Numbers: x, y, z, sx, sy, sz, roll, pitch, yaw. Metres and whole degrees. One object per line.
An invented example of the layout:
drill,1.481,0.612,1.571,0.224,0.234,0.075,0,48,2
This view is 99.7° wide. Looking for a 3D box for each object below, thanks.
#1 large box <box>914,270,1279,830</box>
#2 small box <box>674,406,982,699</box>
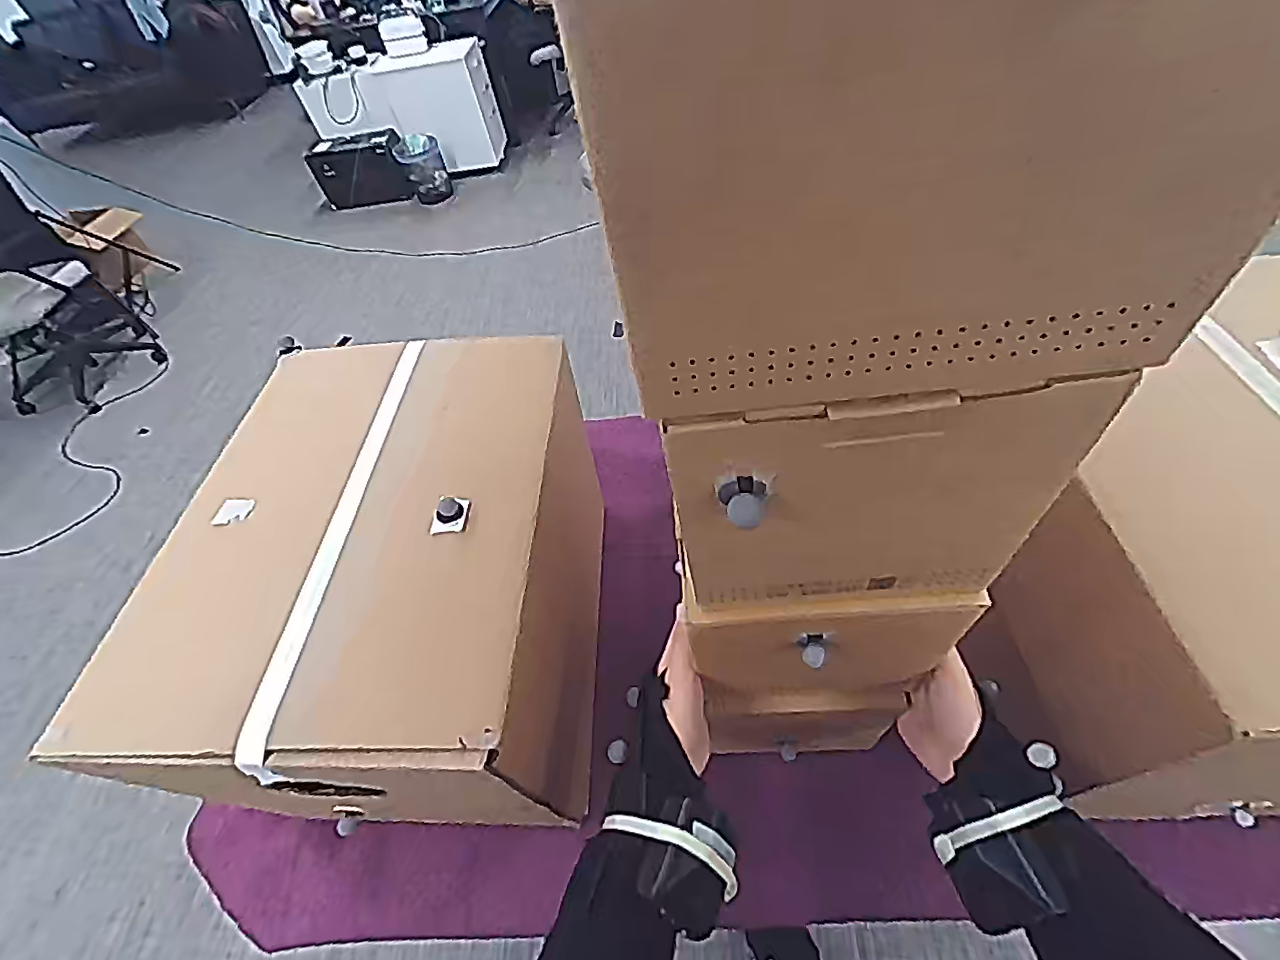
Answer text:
large box,0.477,0.066,0.503,0.320,0.320,0.408,-4,50,6
small box,0.124,0.065,0.428,0.179,0.176,0.168,-6,53,8
